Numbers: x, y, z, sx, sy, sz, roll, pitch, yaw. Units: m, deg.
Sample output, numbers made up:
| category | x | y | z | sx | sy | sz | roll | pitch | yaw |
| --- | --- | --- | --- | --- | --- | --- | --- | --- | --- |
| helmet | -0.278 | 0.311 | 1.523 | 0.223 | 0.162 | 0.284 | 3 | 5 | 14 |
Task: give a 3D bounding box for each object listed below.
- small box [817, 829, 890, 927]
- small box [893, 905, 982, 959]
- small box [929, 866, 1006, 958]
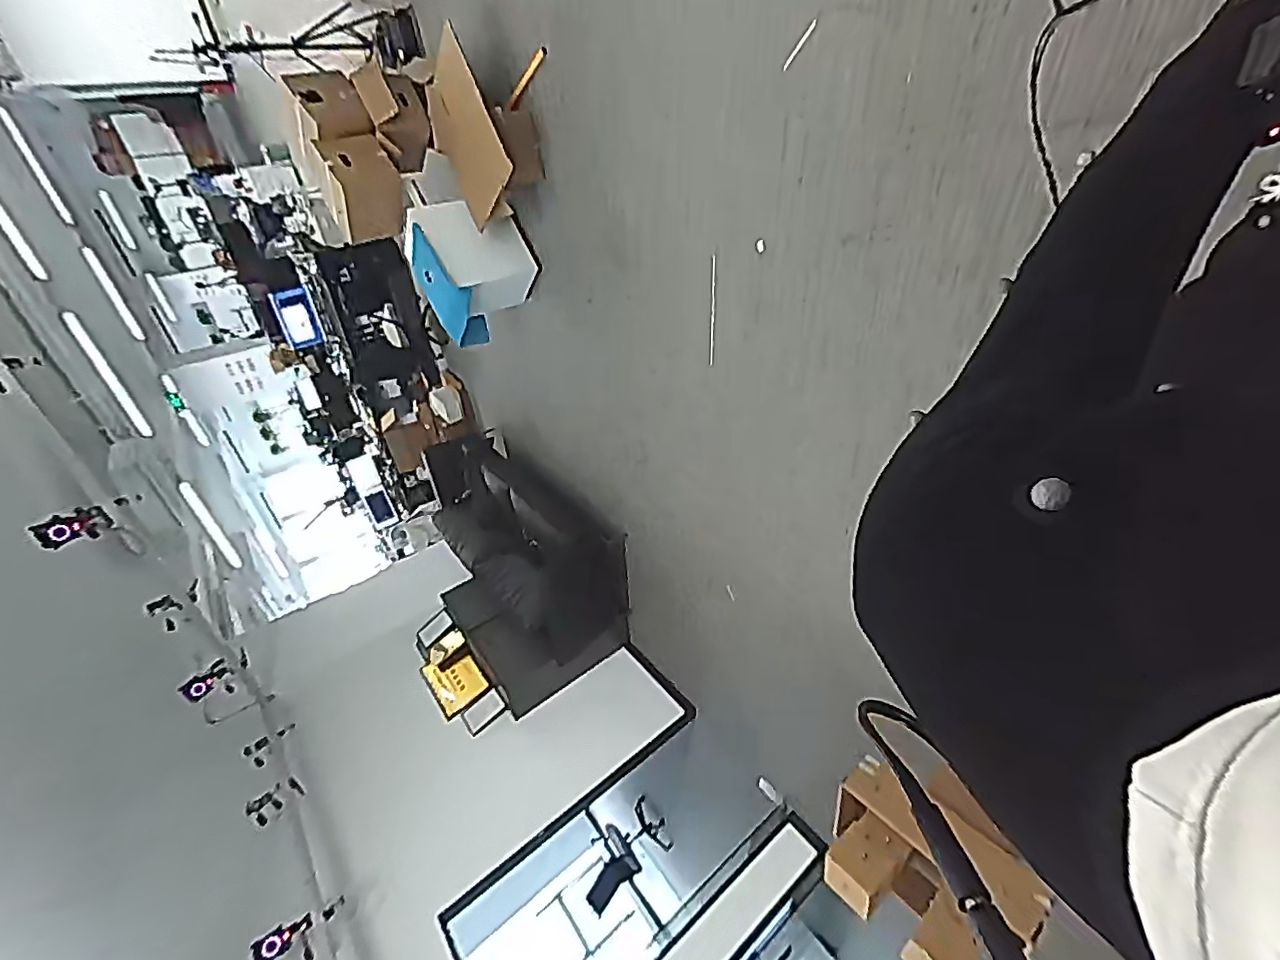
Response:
| category | x | y | z | sx | sy | sz | roll | pitch | yaw |
| --- | --- | --- | --- | --- | --- | --- | --- | --- | --- |
| small box | 0.723 | 1.340 | 1.832 | 0.168 | 0.176 | 0.179 | 27 | 134 | 47 |
| small box | 0.903 | 1.450 | 1.641 | 0.168 | 0.176 | 0.179 | 33 | 139 | 42 |
| small box | 1.031 | 1.386 | 1.721 | 0.168 | 0.176 | 0.179 | 28 | 136 | 44 |
